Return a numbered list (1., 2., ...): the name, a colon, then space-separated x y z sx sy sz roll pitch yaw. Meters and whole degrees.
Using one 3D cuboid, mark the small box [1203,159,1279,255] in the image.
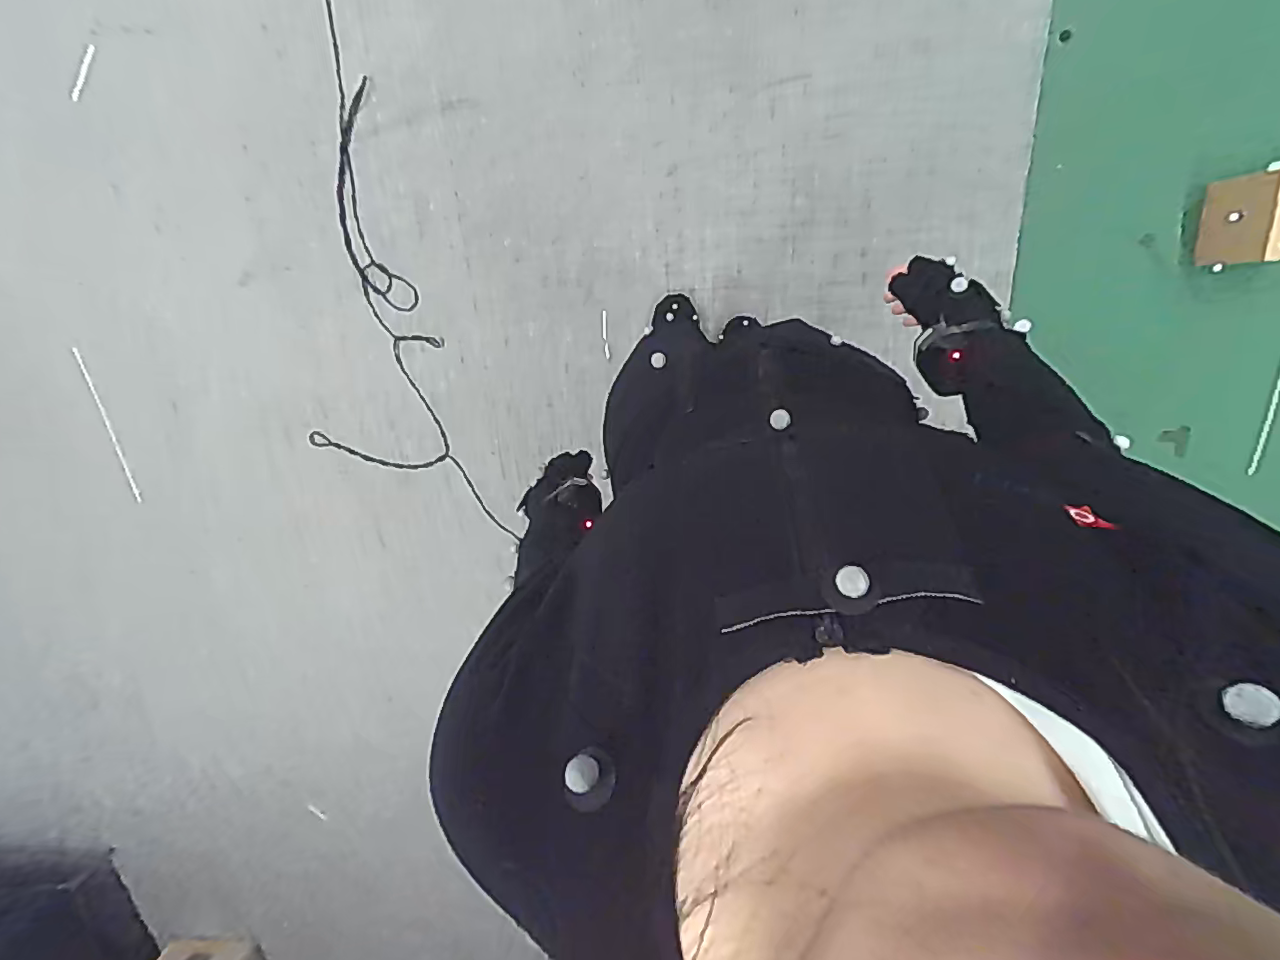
1. small box: 1.342 -0.571 1.125 0.168 0.176 0.179 -5 108 7
